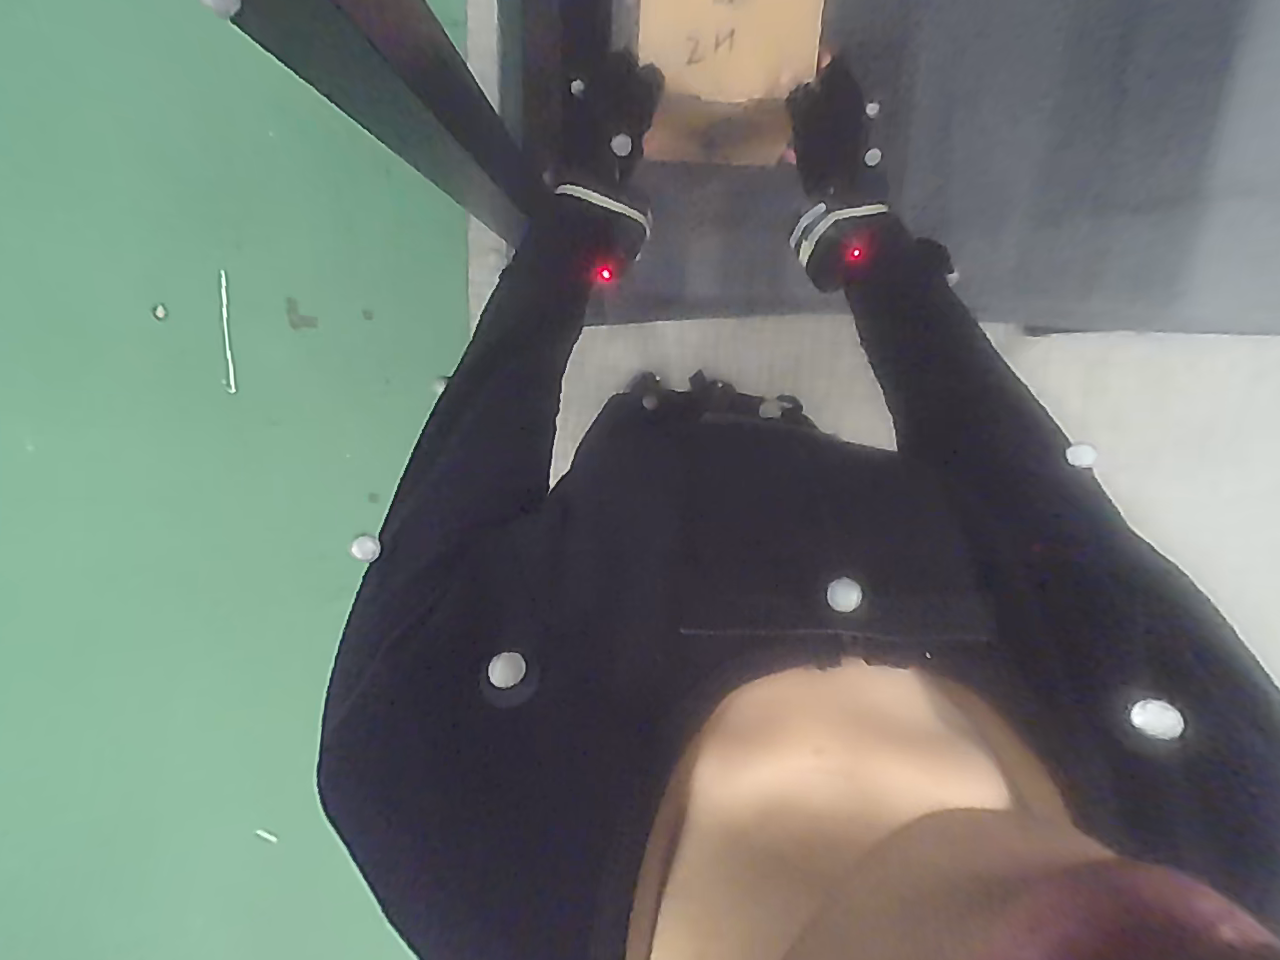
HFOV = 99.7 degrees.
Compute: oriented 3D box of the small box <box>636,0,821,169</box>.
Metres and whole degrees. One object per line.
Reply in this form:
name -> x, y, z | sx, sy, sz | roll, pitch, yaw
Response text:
small box -> 0.083, -0.454, 0.564 | 0.168, 0.176, 0.179 | 3, 102, 1
